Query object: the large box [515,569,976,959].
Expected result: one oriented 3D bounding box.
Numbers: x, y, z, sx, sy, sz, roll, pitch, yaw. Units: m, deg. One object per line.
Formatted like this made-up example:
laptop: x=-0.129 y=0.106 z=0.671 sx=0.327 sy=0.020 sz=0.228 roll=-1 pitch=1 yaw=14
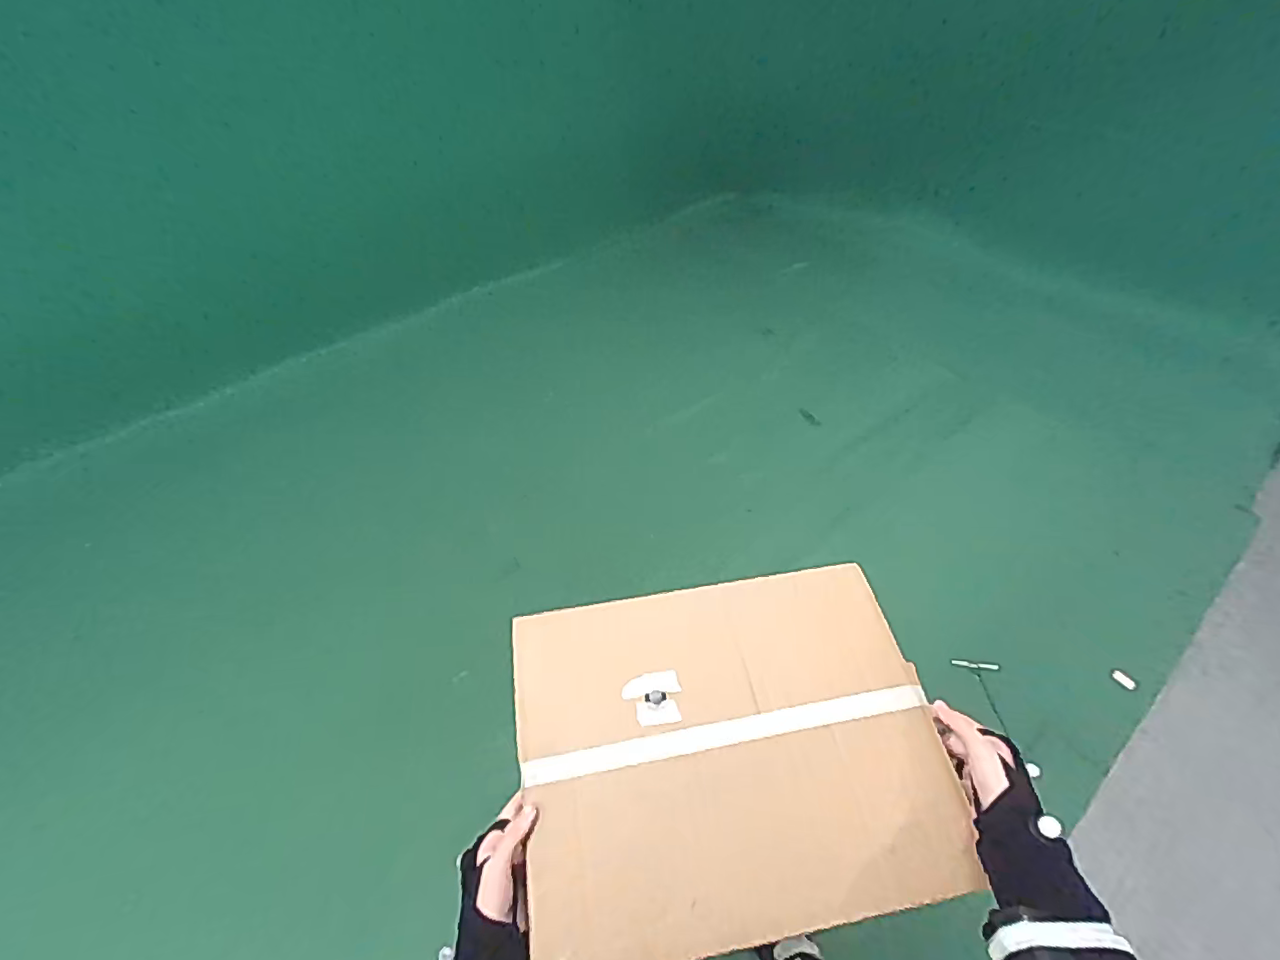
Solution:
large box: x=0.083 y=0.342 z=0.666 sx=0.408 sy=0.320 sz=0.320 roll=-8 pitch=56 yaw=-6
